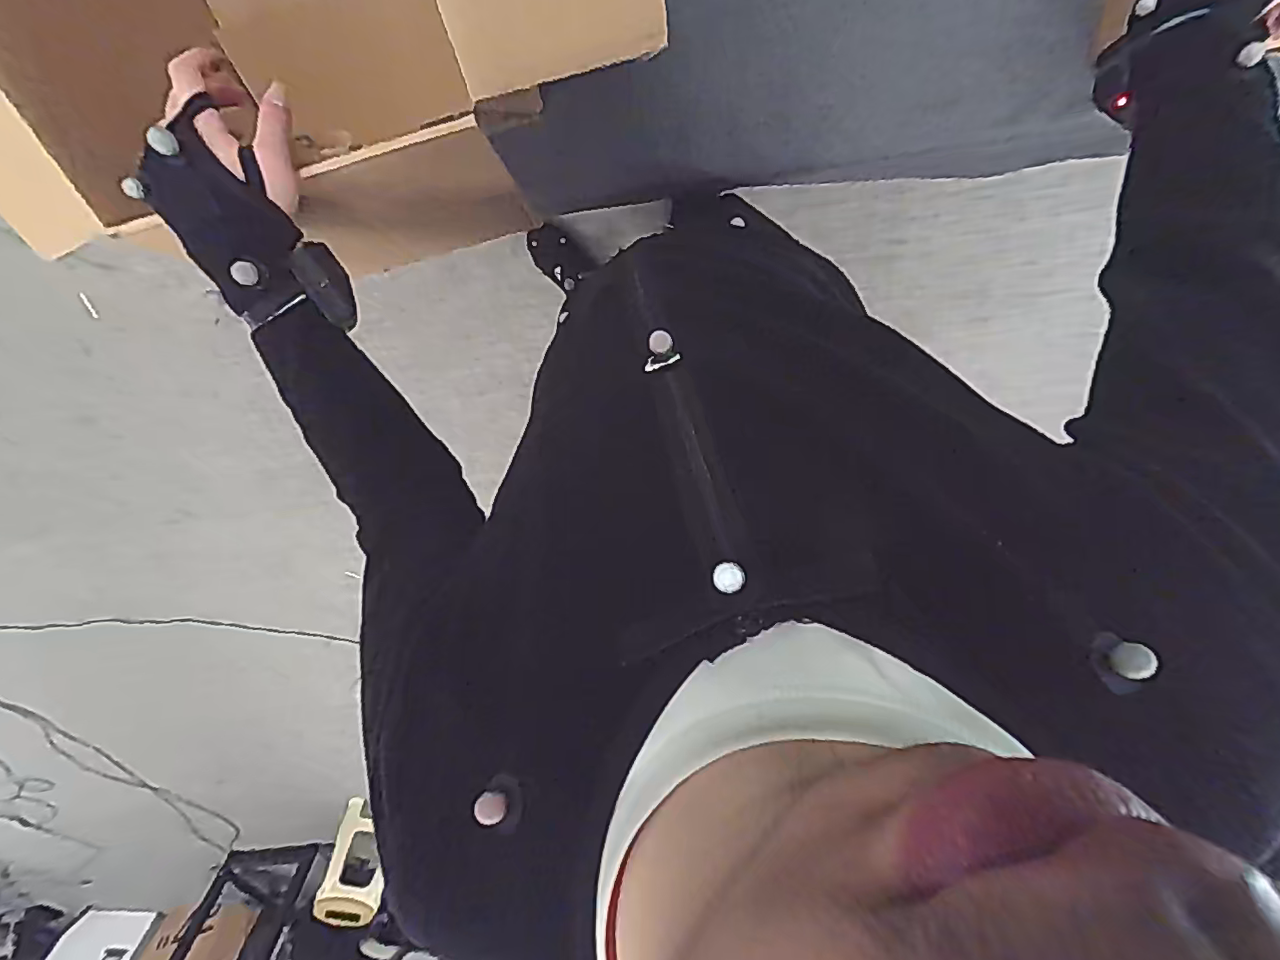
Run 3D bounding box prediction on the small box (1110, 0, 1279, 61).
[{"bbox_3d":[0.559,-0.485,0.464,0.168,0.176,0.179,-7,123,10],"label":"small box"}]
